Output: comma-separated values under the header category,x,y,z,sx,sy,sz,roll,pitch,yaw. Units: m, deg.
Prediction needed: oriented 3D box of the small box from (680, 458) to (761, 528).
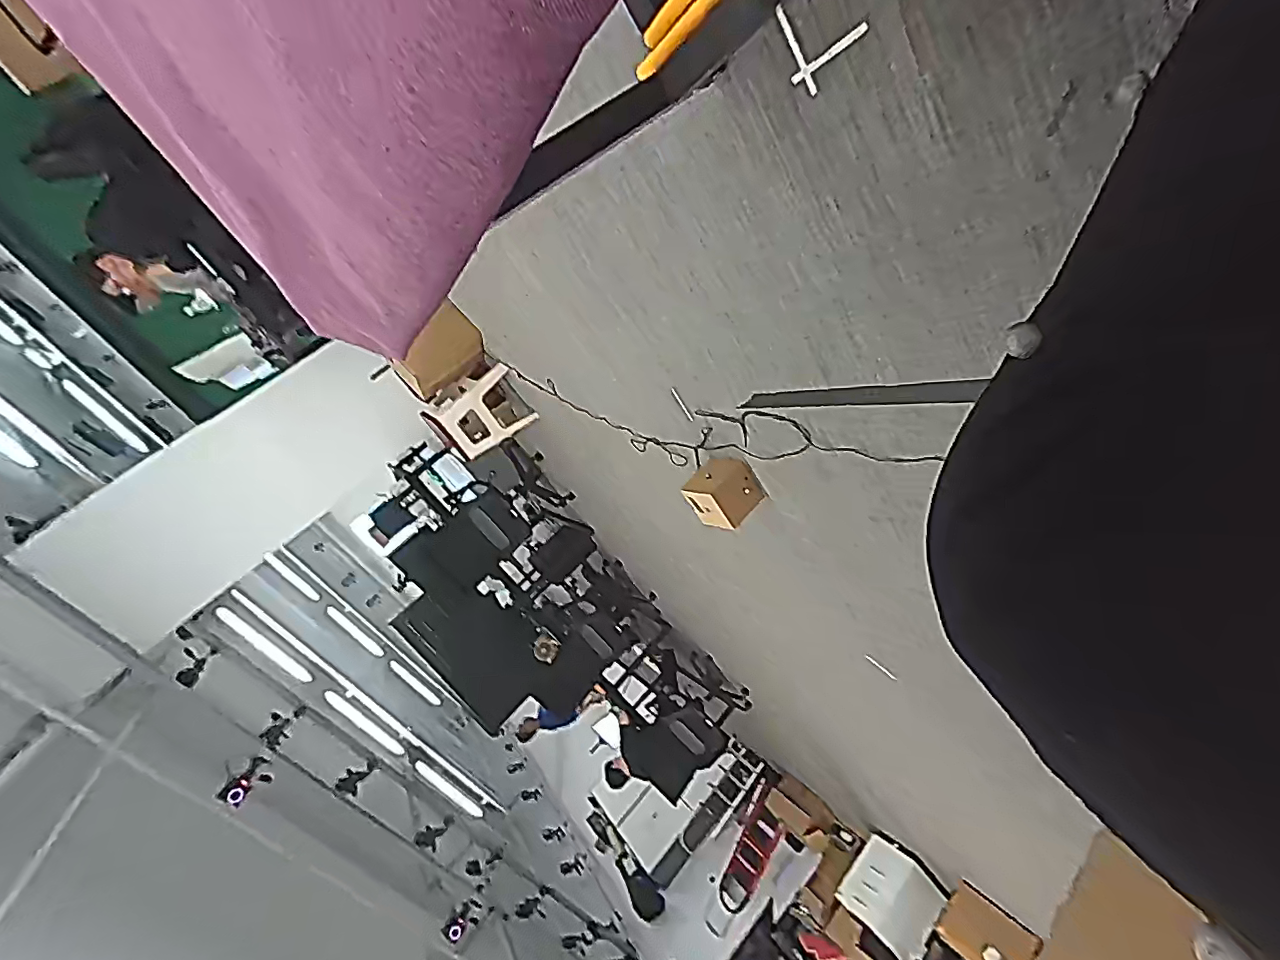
category,x,y,z,sx,sy,sz,roll,pitch,yaw
small box,0.277,0.037,1.845,0.168,0.176,0.179,53,159,-23
